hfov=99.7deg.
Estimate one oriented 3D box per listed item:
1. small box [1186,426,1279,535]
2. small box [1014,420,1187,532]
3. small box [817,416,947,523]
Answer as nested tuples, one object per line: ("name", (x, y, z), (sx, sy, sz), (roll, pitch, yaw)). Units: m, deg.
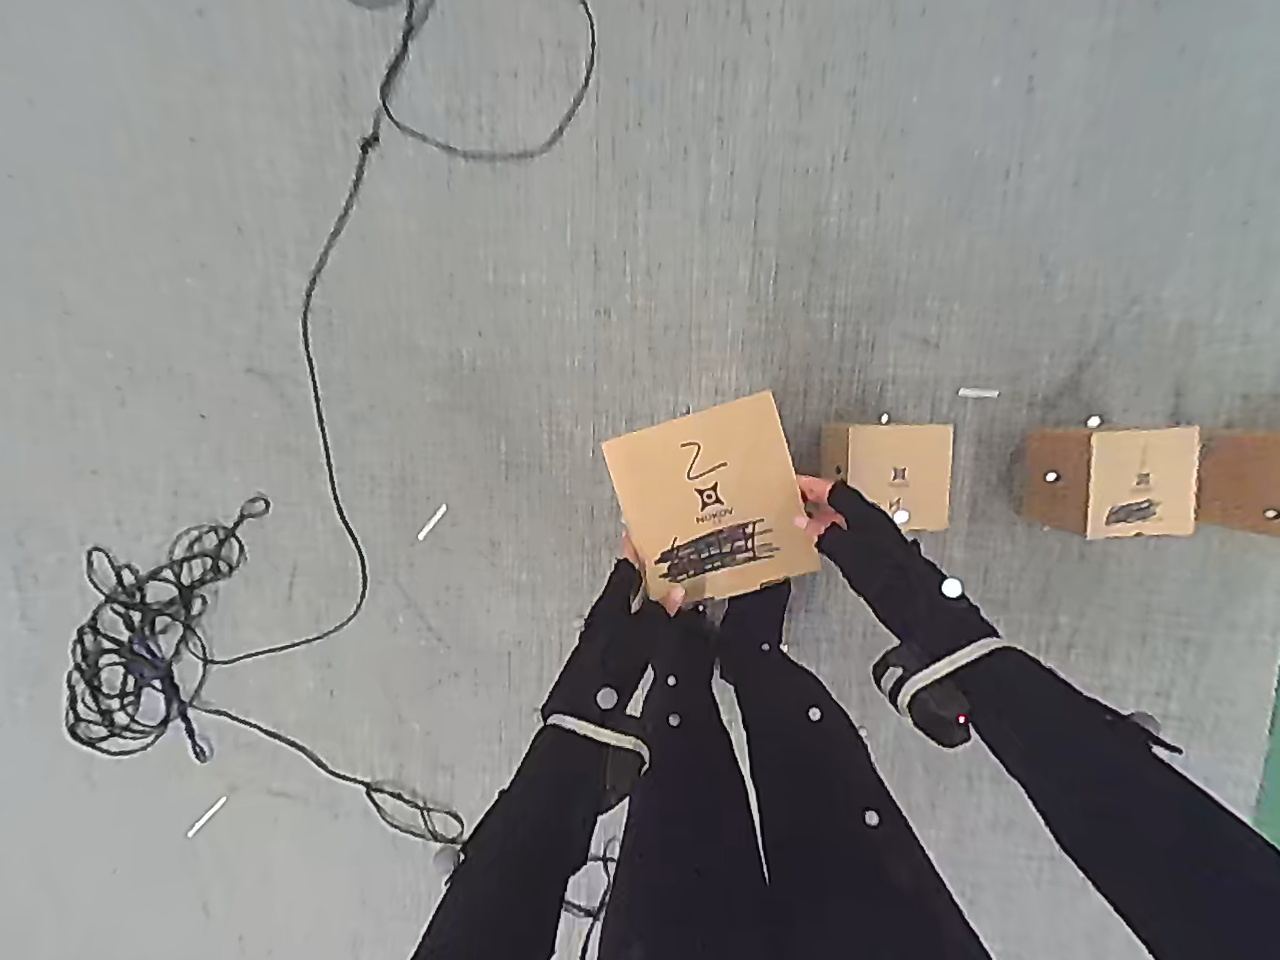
("small box", (1.121, -0.001, 0.943), (0.168, 0.176, 0.179), (3, 99, 3))
("small box", (0.798, -0.014, 0.957), (0.168, 0.176, 0.179), (-2, 97, 3))
("small box", (0.423, -0.026, 0.973), (0.168, 0.176, 0.179), (1, 99, 4))
